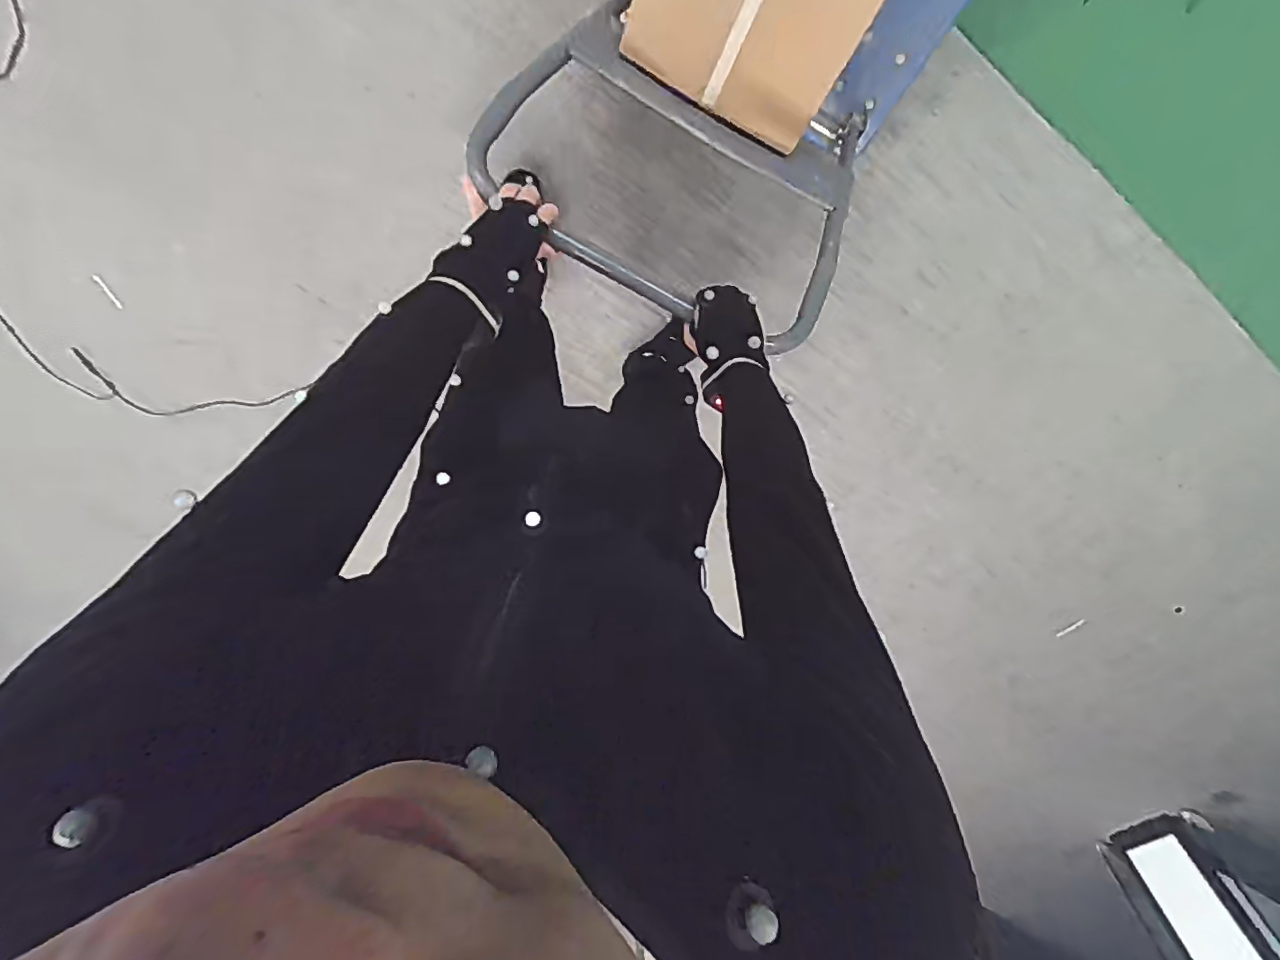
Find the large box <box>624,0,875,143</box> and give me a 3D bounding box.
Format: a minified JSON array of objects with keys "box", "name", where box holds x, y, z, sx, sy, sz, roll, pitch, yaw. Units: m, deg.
[{"box":[0.223,-0.820,0.799,0.320,0.320,0.408,27,141,-8],"name":"large box"}]
